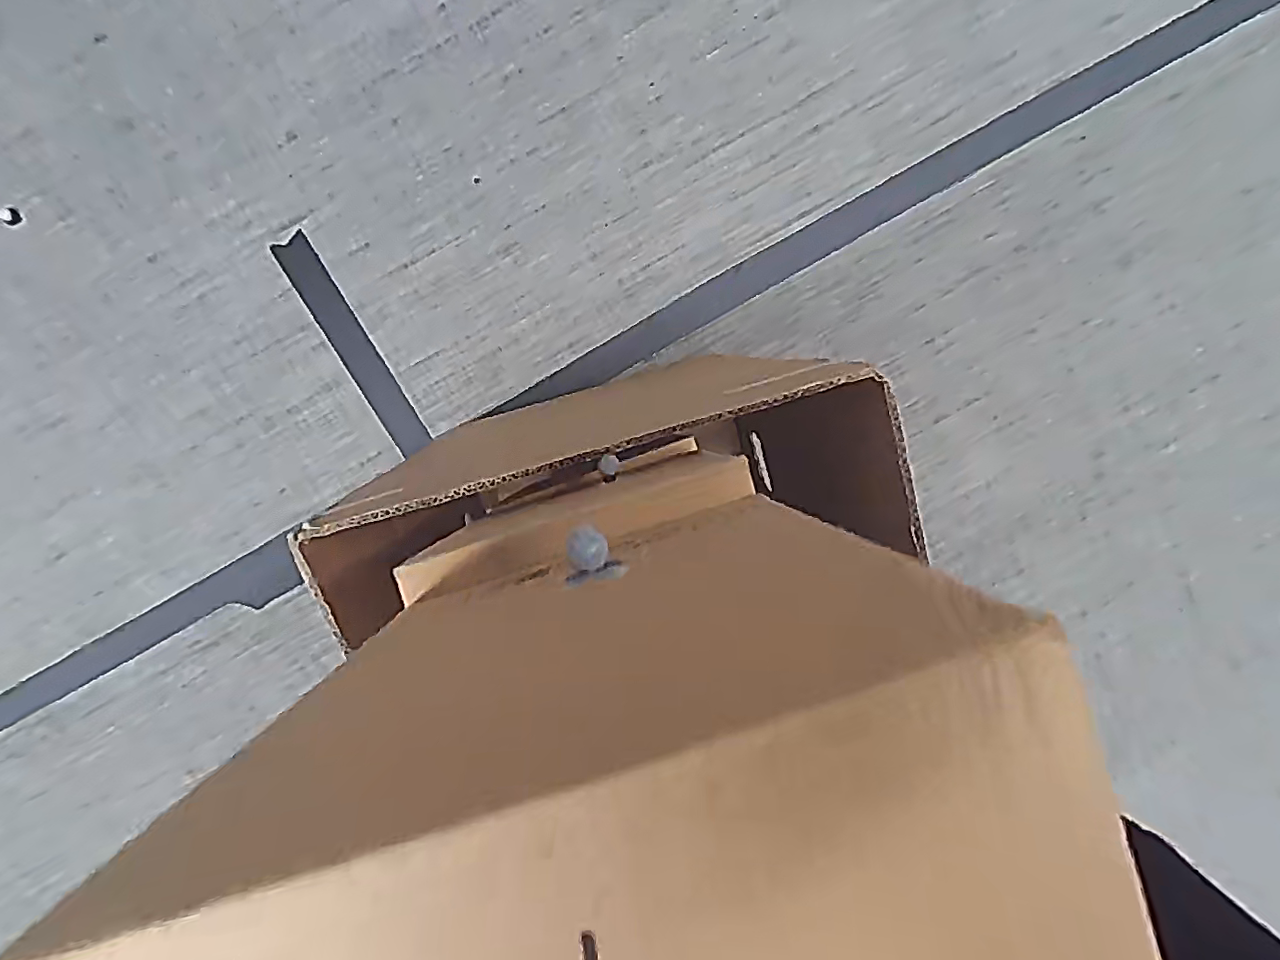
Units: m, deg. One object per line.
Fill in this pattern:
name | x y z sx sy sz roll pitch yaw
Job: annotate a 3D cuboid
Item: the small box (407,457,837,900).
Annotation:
small box | -0.008 0.091 0.332 0.168 0.176 0.179 -17 95 -2
